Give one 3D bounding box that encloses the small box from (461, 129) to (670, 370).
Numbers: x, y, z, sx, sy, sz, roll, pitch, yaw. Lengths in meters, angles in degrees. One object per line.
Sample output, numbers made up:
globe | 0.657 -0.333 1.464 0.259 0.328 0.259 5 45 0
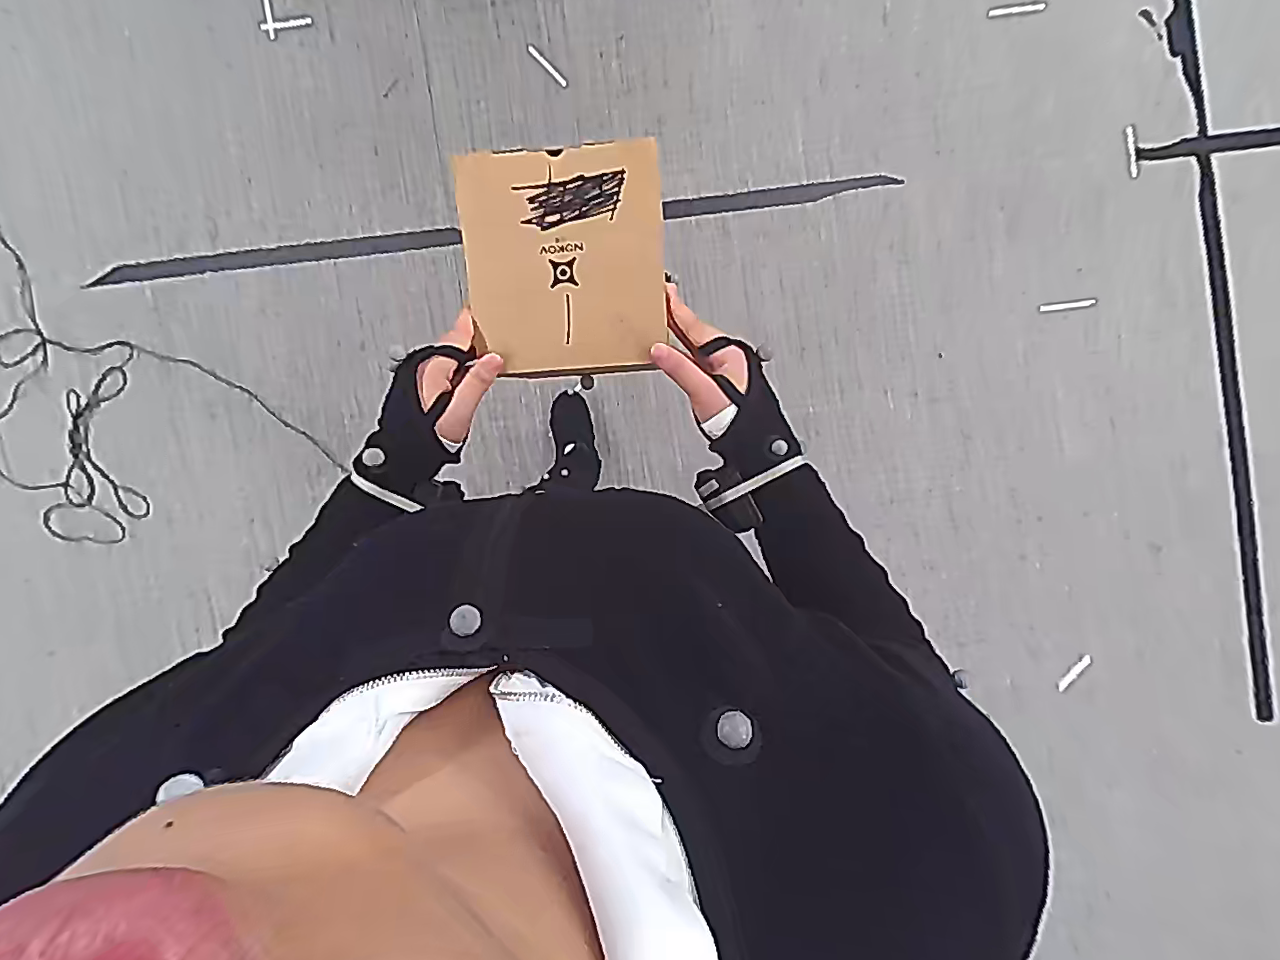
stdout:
small box | -0.057 -0.203 0.524 0.168 0.176 0.179 -3 100 4
